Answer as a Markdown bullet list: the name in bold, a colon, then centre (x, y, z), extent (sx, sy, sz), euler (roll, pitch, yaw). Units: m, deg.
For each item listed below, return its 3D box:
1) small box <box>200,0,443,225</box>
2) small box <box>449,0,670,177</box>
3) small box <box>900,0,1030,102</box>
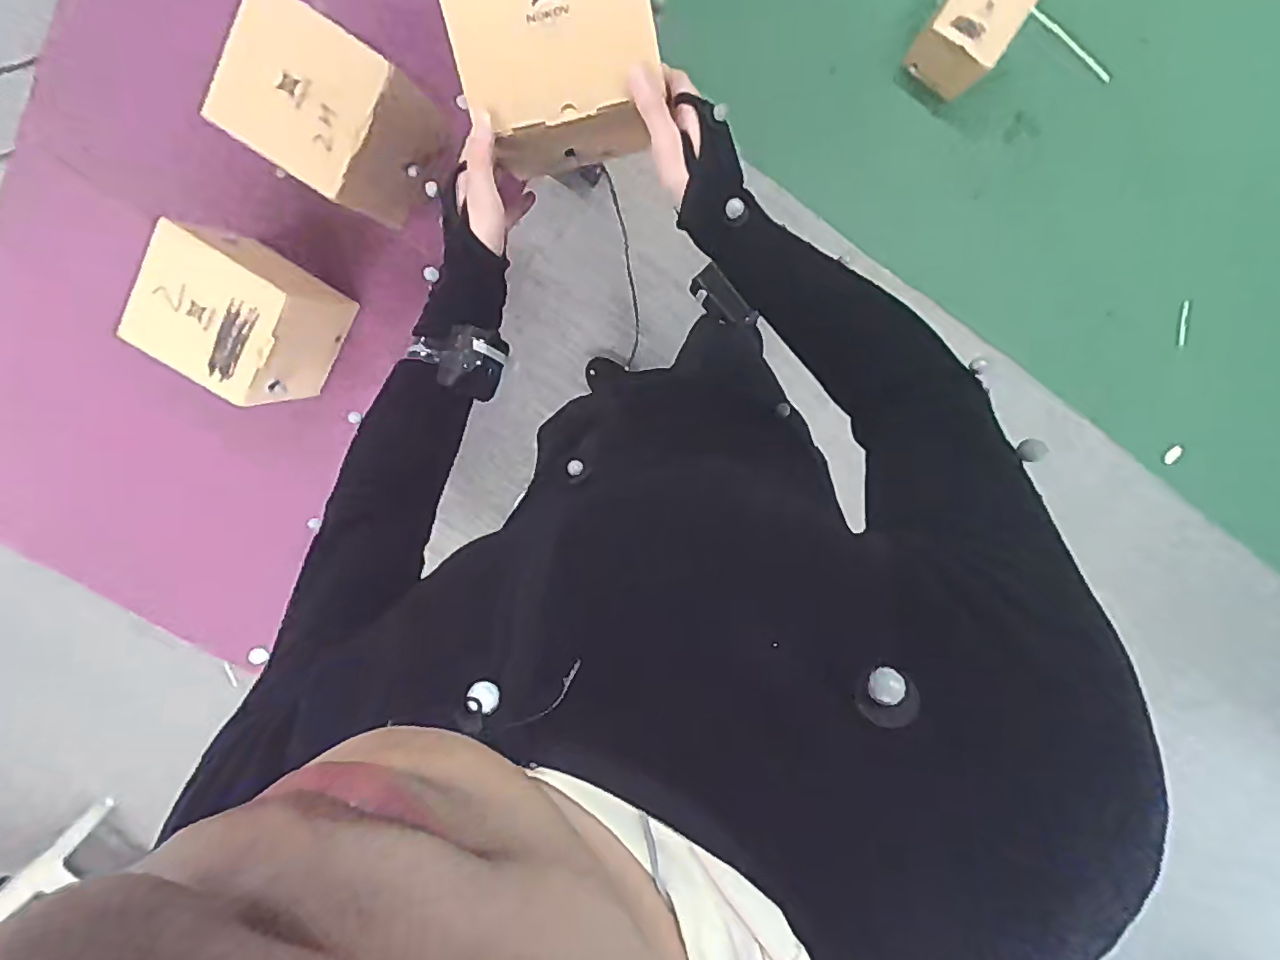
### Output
- **small box**: centre (-0.390, -0.456, 0.692), extent (0.179, 0.176, 0.168), euler (32, 104, -7)
- **small box**: centre (-0.072, -0.408, 0.504), extent (0.168, 0.176, 0.179), euler (-11, 110, 3)
- **small box**: centre (0.749, -1.047, 1.274), extent (0.168, 0.176, 0.179), euler (31, 102, -7)
